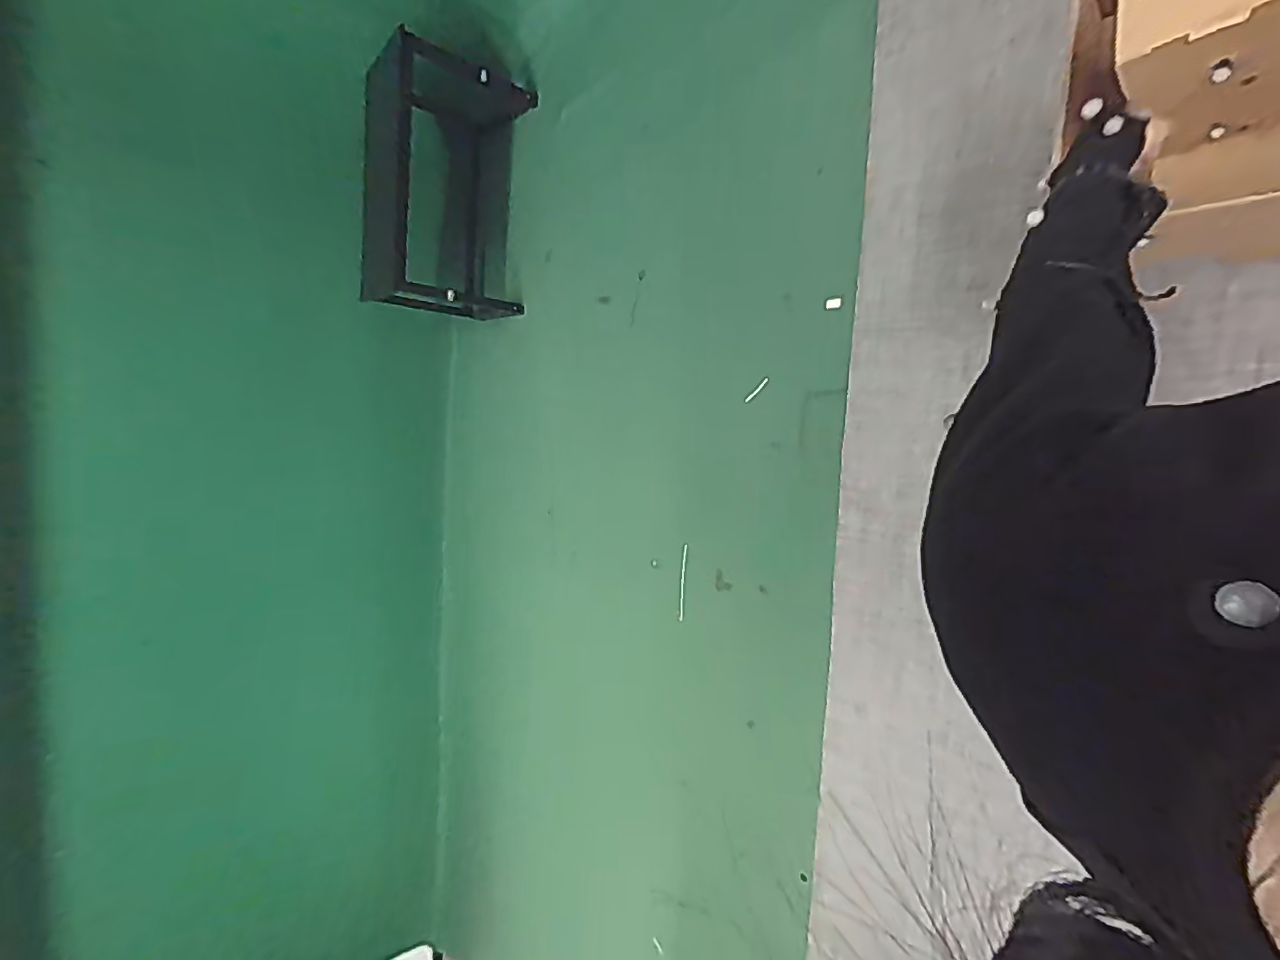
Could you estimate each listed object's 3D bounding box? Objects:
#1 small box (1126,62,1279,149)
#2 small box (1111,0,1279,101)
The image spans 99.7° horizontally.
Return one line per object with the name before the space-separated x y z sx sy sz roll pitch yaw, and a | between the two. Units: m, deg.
small box | 0.768 -0.582 0.713 0.168 0.176 0.179 4 95 49
small box | 0.650 -0.563 0.600 0.168 0.176 0.179 4 95 48
